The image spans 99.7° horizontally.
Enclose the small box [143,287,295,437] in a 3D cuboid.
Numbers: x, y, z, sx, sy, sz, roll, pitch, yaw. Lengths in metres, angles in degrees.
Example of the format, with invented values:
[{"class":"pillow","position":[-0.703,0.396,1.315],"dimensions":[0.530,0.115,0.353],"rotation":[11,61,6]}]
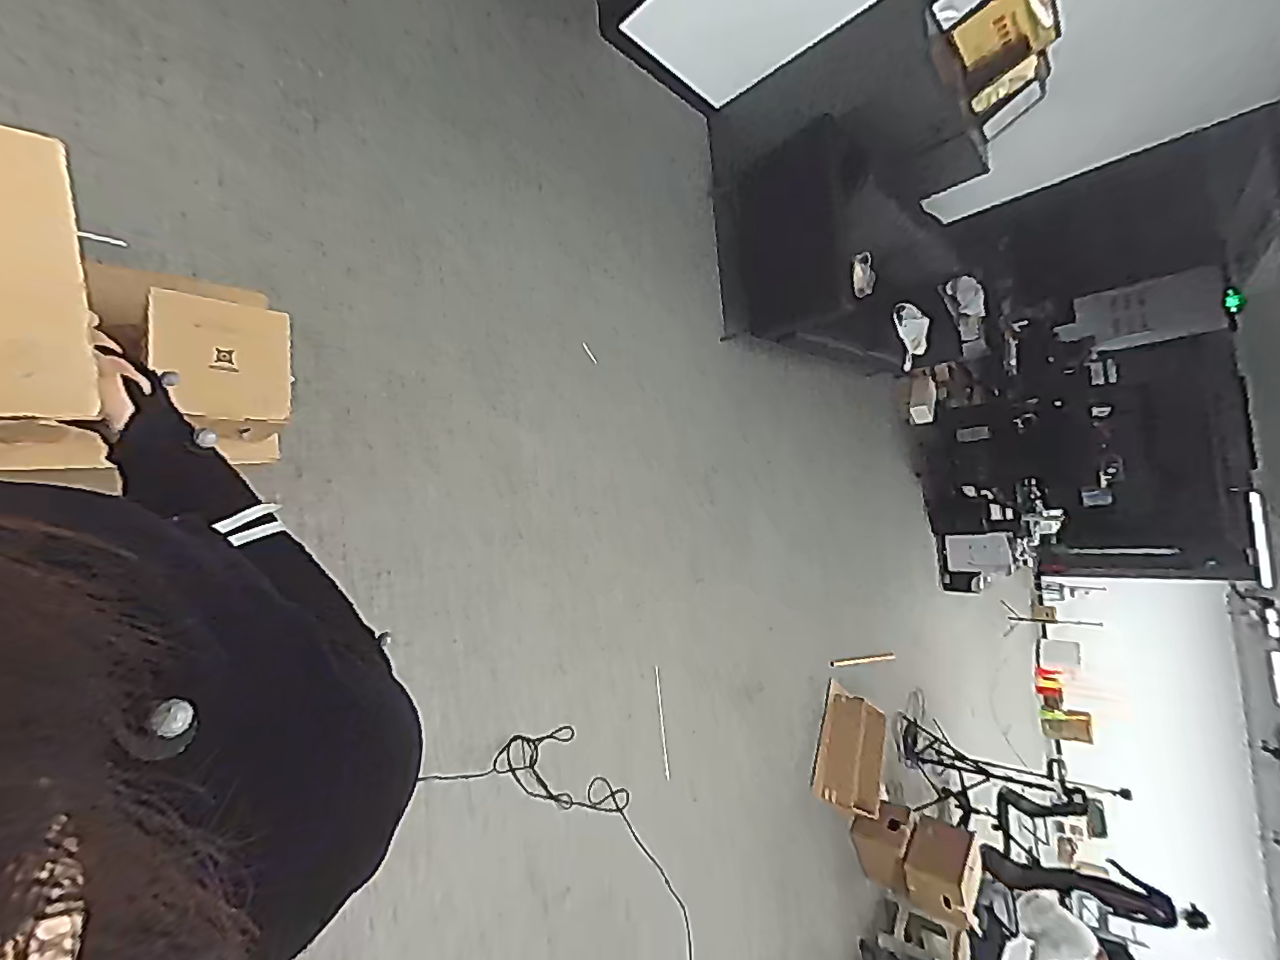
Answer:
[{"class":"small box","position":[-0.647,-0.165,0.833],"dimensions":[0.168,0.176,0.179],"rotation":[2,83,-46]}]

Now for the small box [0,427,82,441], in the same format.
[{"class":"small box","position":[-0.808,-0.145,0.660],"dimensions":[0.168,0.176,0.179],"rotation":[-5,90,-48]}]

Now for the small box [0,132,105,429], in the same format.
[{"class":"small box","position":[-0.474,-0.125,0.340],"dimensions":[0.168,0.176,0.179],"rotation":[-13,108,-51]}]
